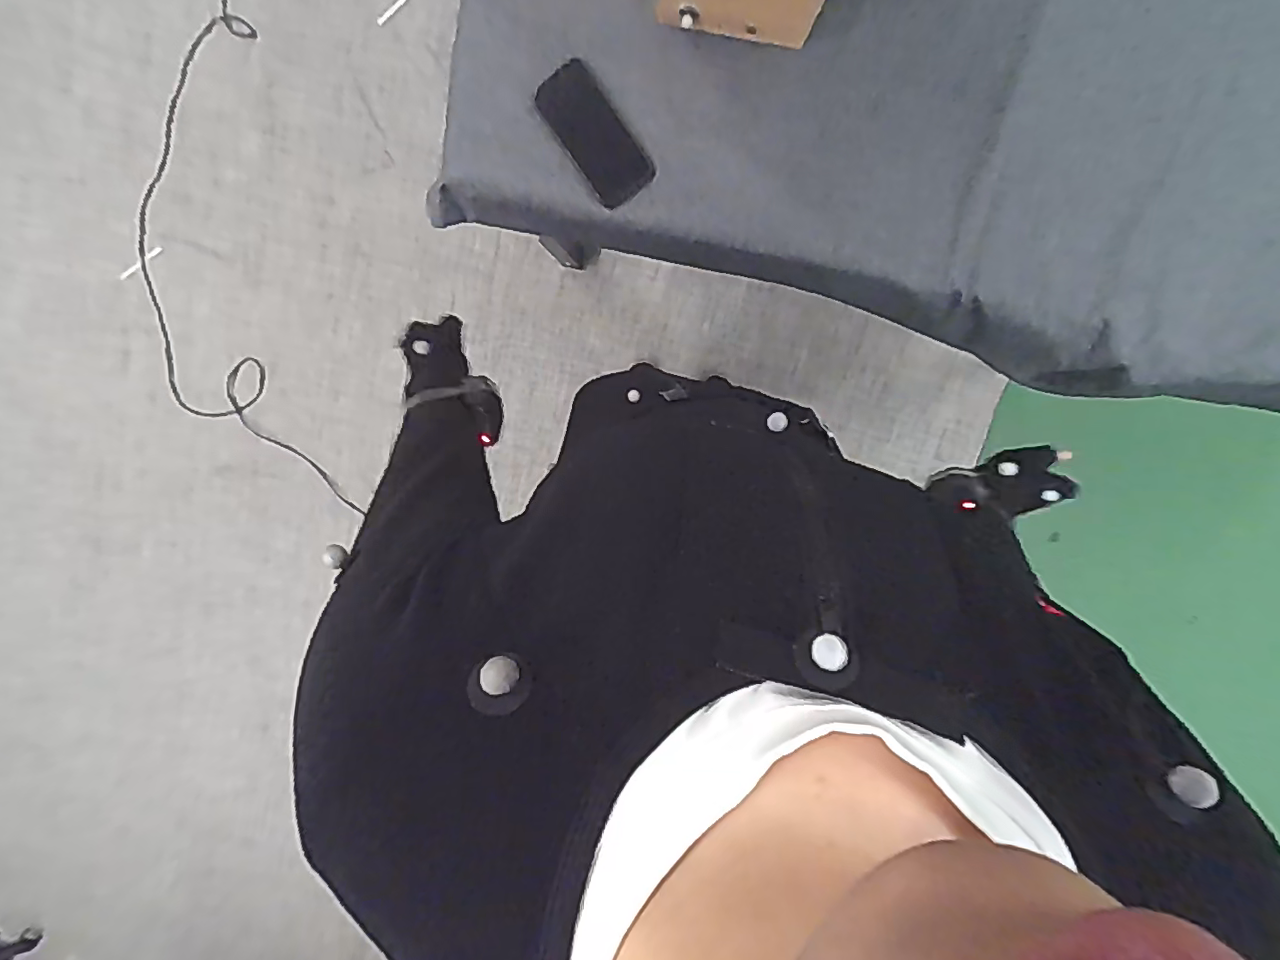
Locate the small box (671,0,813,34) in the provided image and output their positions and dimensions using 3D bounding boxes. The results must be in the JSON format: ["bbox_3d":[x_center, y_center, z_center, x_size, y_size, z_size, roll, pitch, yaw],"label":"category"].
[{"bbox_3d":[0.112,-0.575,0.512,0.168,0.176,0.179,9,102,-2],"label":"small box"}]
